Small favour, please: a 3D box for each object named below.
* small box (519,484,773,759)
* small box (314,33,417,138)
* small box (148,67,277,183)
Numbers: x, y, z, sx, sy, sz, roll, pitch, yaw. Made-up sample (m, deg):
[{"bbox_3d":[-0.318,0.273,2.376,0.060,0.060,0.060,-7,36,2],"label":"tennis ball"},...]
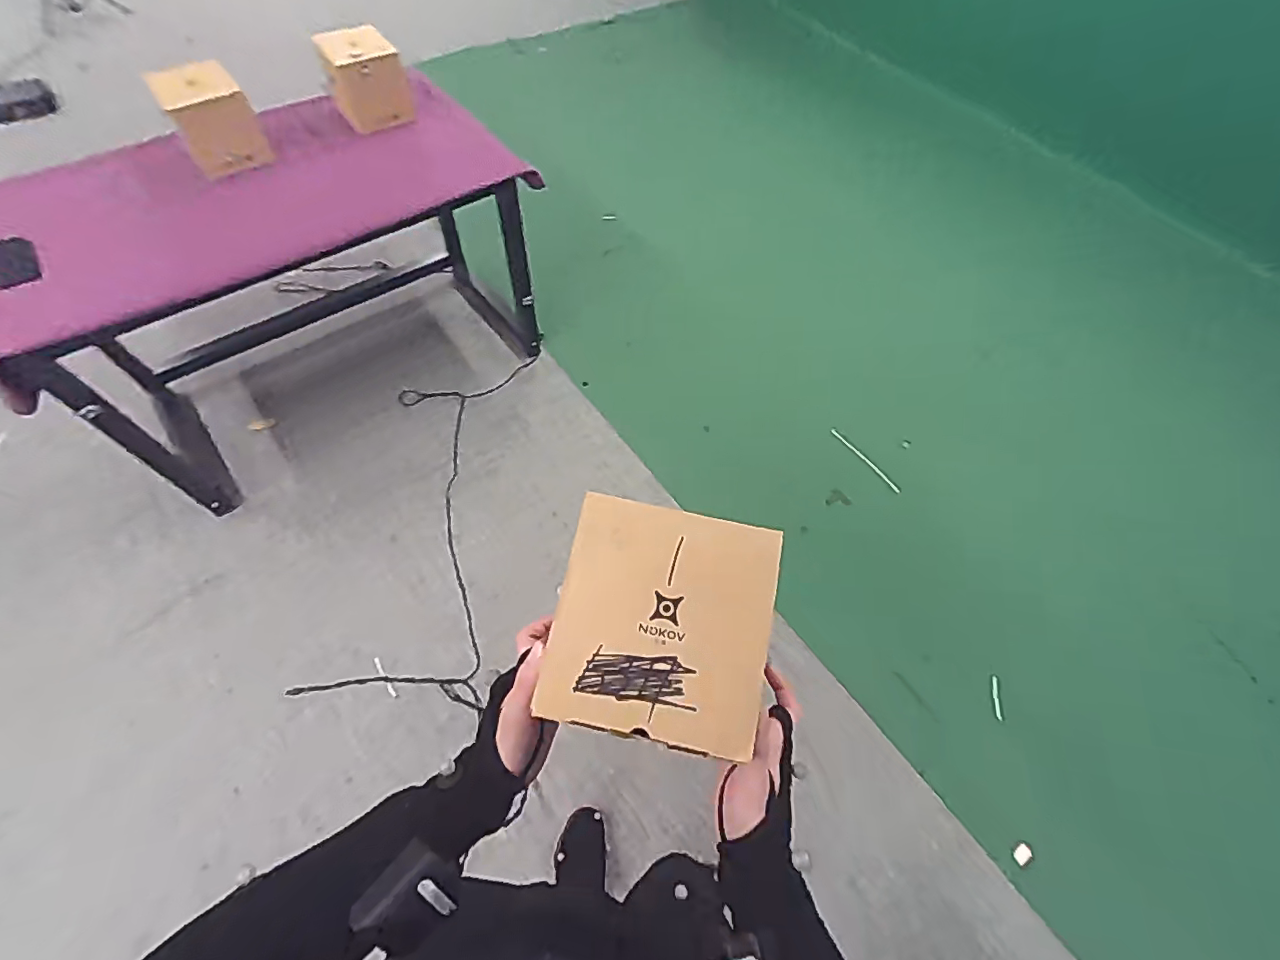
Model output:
[{"bbox_3d":[0.008,0.123,0.483,0.168,0.176,0.179,12,73,3],"label":"small box"},{"bbox_3d":[-0.741,-1.072,1.473,0.168,0.176,0.179,-32,66,-19],"label":"small box"},{"bbox_3d":[-1.047,-0.873,1.336,0.168,0.176,0.179,-34,68,-20],"label":"small box"}]
